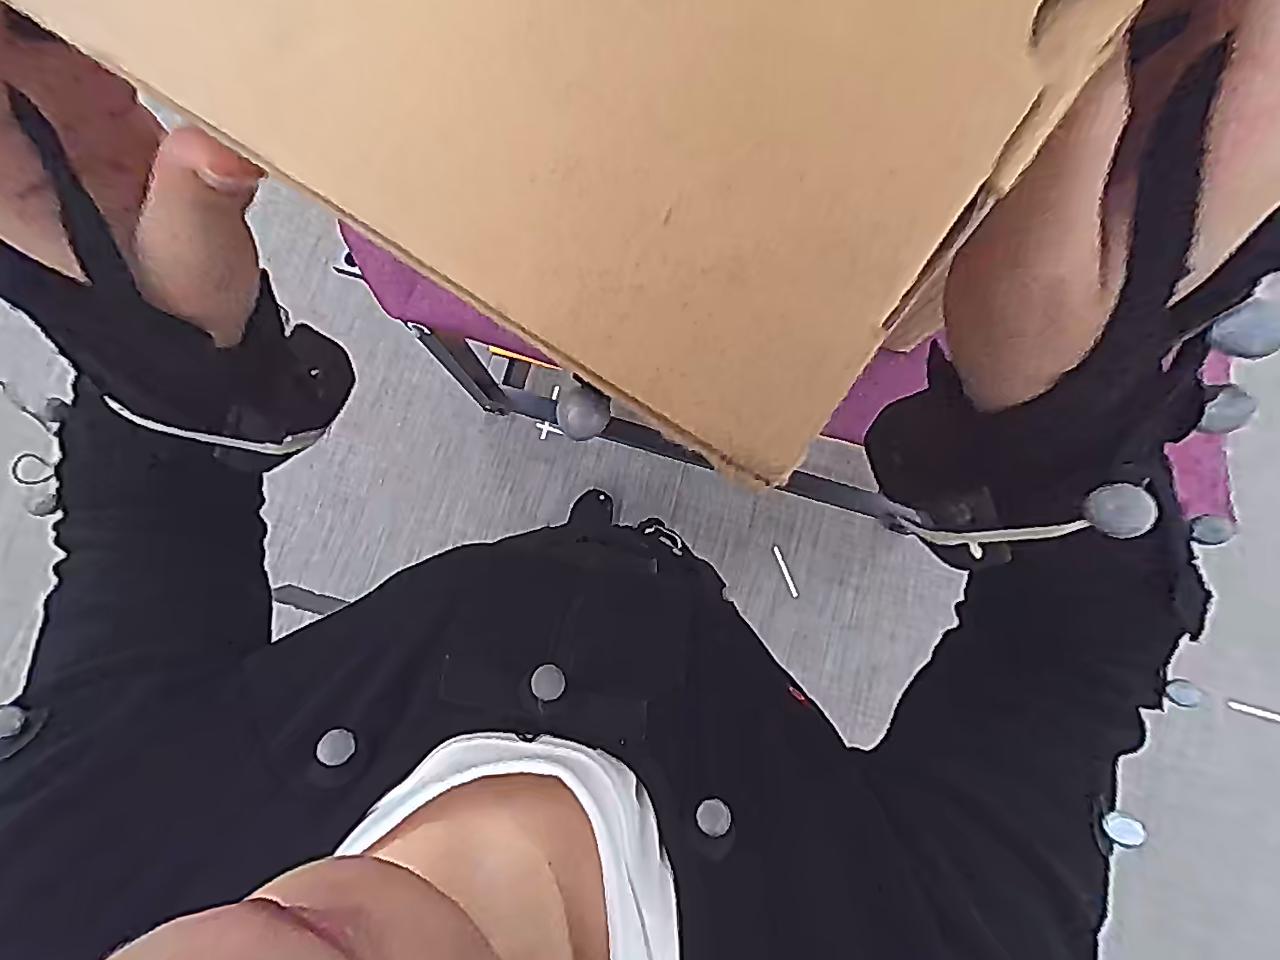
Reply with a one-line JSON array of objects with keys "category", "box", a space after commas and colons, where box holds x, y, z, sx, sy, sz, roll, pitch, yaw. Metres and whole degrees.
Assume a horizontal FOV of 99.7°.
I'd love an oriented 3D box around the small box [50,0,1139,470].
[{"category": "small box", "box": [-0.001, -0.125, 0.154, 0.179, 0.176, 0.168, 32, 100, -5]}]
